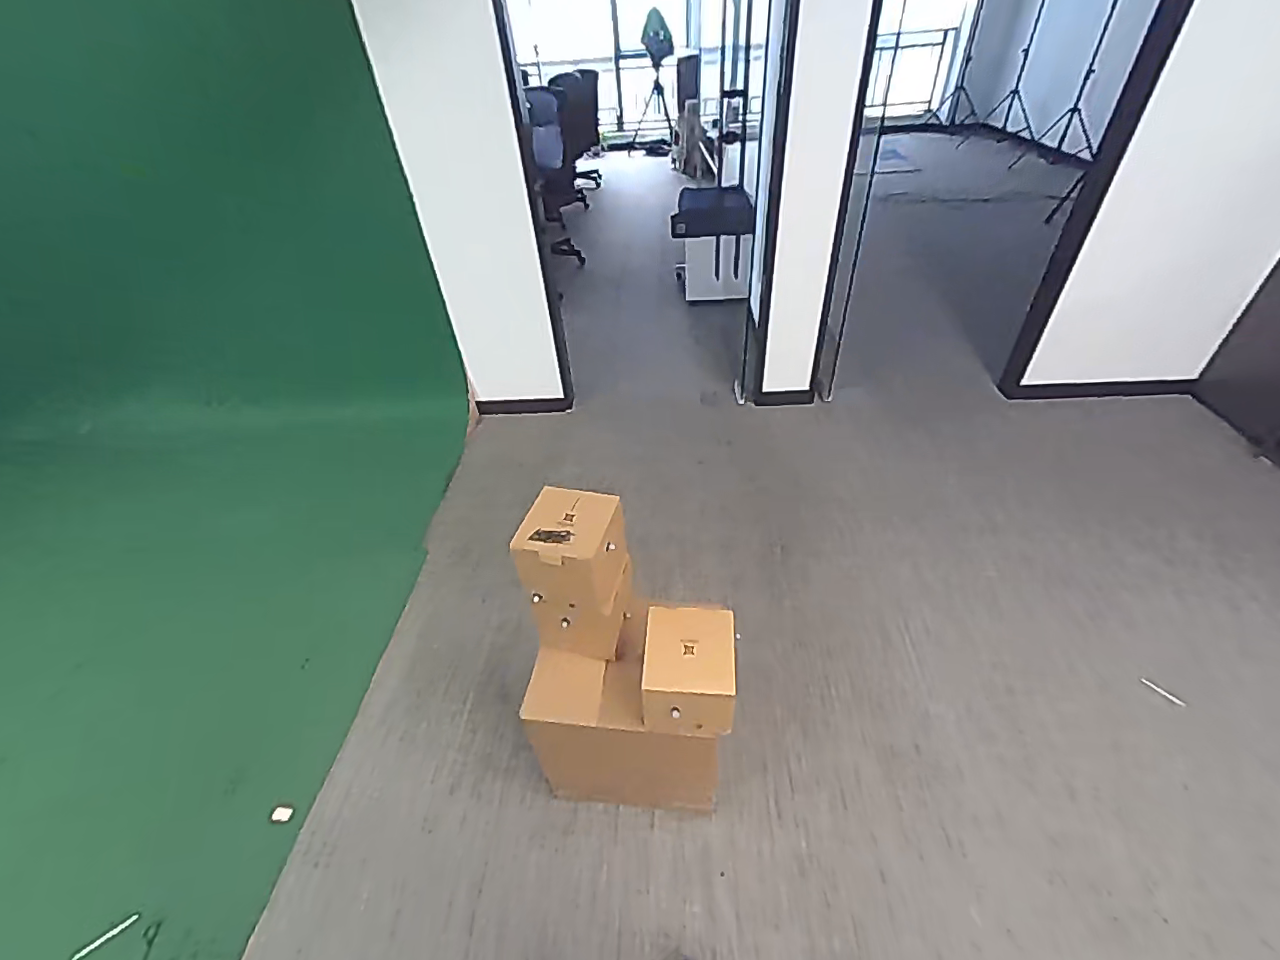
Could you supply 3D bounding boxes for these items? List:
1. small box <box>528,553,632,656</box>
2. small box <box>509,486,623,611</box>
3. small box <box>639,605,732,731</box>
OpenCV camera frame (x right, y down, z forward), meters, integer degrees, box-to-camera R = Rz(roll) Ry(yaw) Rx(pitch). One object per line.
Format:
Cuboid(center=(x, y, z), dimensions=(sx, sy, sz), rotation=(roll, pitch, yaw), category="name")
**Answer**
Cuboid(center=(-0.124, 0.264, 1.188), dimensions=(0.179, 0.176, 0.168), rotation=(7, 42, 12), category="small box")
Cuboid(center=(-0.136, 0.137, 1.083), dimensions=(0.168, 0.176, 0.179), rotation=(7, 41, 14), category="small box")
Cuboid(center=(0.093, 0.365, 1.051), dimensions=(0.168, 0.176, 0.179), rotation=(1, 41, 6), category="small box")
